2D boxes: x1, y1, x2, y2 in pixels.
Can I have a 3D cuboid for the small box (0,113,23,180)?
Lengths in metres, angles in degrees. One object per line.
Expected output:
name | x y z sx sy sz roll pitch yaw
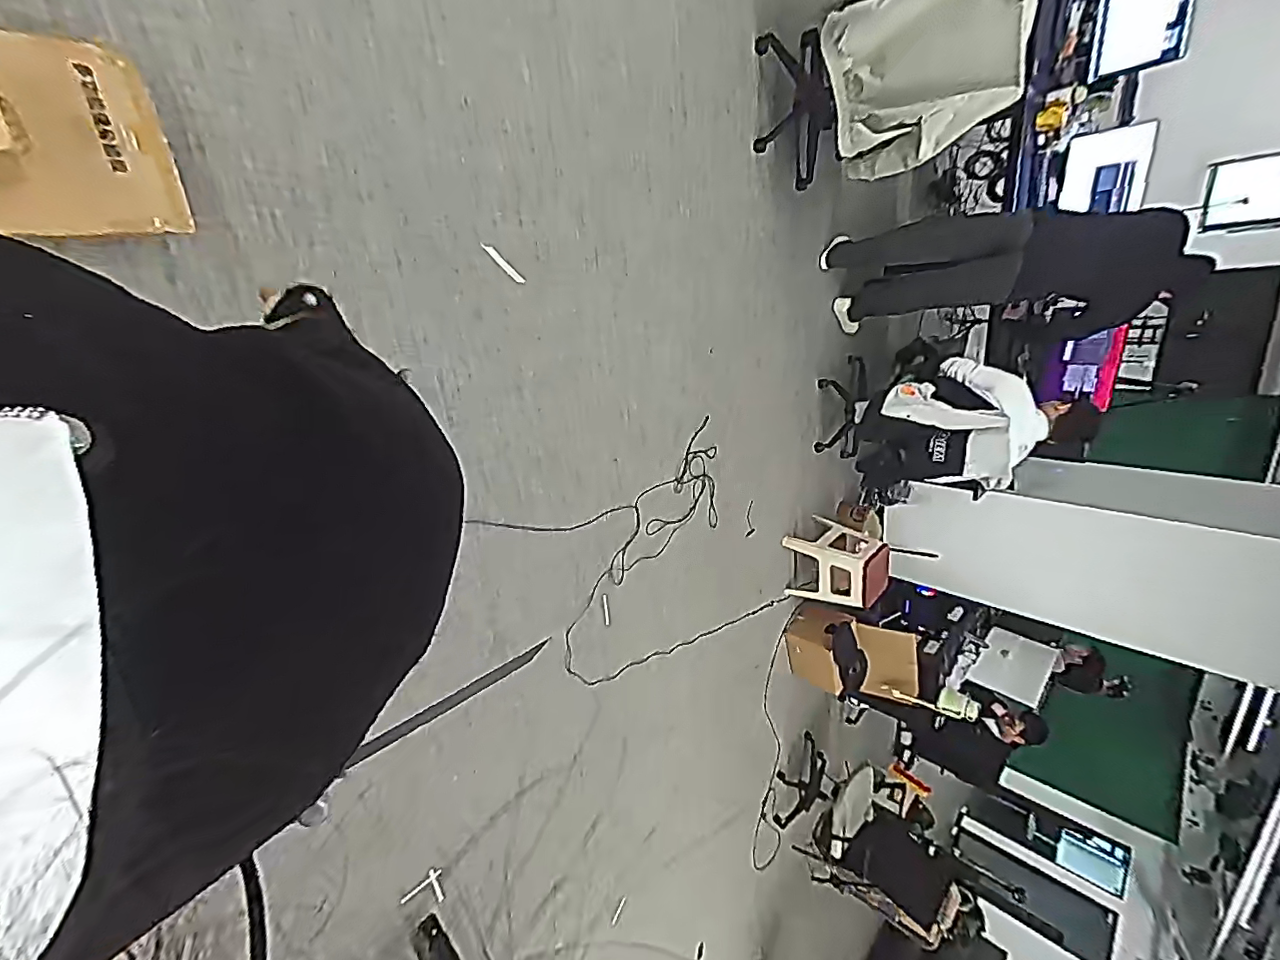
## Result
small box | -1.023 -0.540 0.756 0.168 0.176 0.179 -24 116 -39
